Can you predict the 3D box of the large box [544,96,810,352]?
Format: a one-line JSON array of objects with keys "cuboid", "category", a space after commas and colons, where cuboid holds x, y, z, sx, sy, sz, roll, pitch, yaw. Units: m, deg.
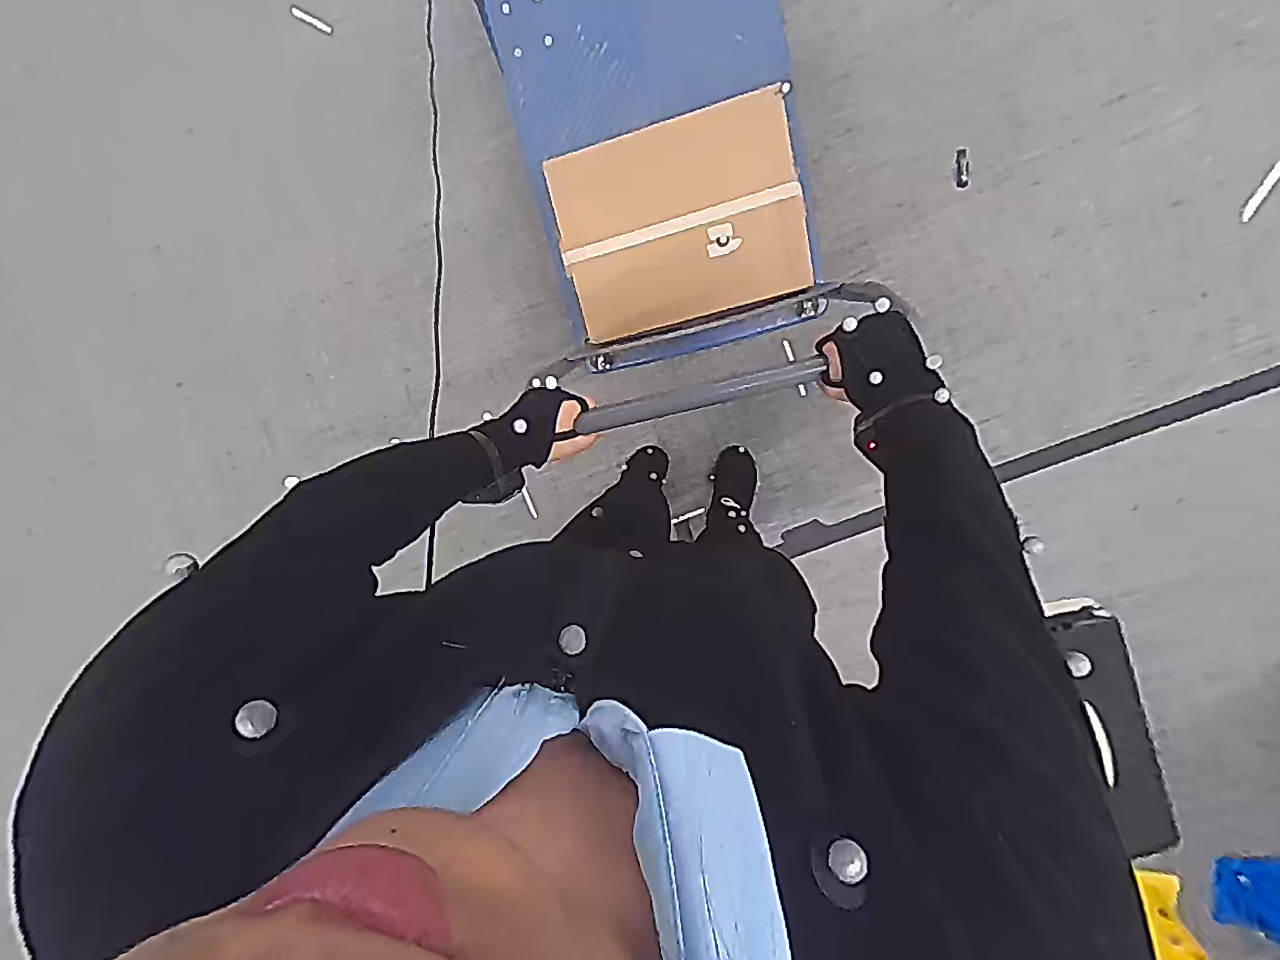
[{"cuboid": [0.077, -0.459, 1.063, 0.408, 0.320, 0.320, -13, 105, 9], "category": "large box"}]
